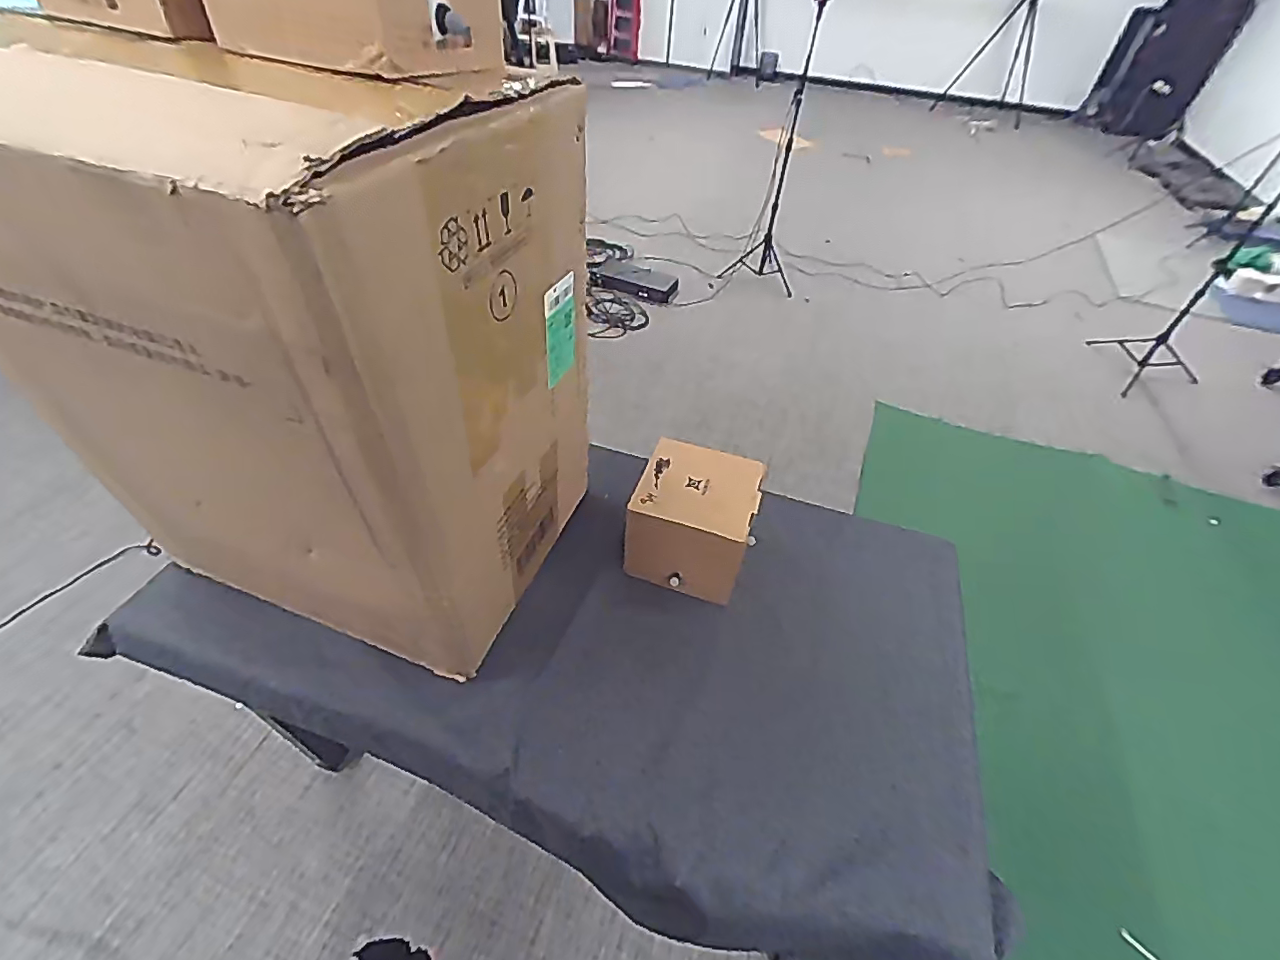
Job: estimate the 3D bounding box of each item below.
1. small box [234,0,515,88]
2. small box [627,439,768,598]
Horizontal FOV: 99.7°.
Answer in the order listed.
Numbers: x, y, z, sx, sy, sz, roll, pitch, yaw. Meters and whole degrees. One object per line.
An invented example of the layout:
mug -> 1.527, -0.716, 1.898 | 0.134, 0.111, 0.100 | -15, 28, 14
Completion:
small box -> -0.221, -0.439, 0.445 | 0.179, 0.176, 0.168 | 19, 44, 11
small box -> 0.089, 0.066, 0.873 | 0.179, 0.176, 0.168 | 17, 47, 10
